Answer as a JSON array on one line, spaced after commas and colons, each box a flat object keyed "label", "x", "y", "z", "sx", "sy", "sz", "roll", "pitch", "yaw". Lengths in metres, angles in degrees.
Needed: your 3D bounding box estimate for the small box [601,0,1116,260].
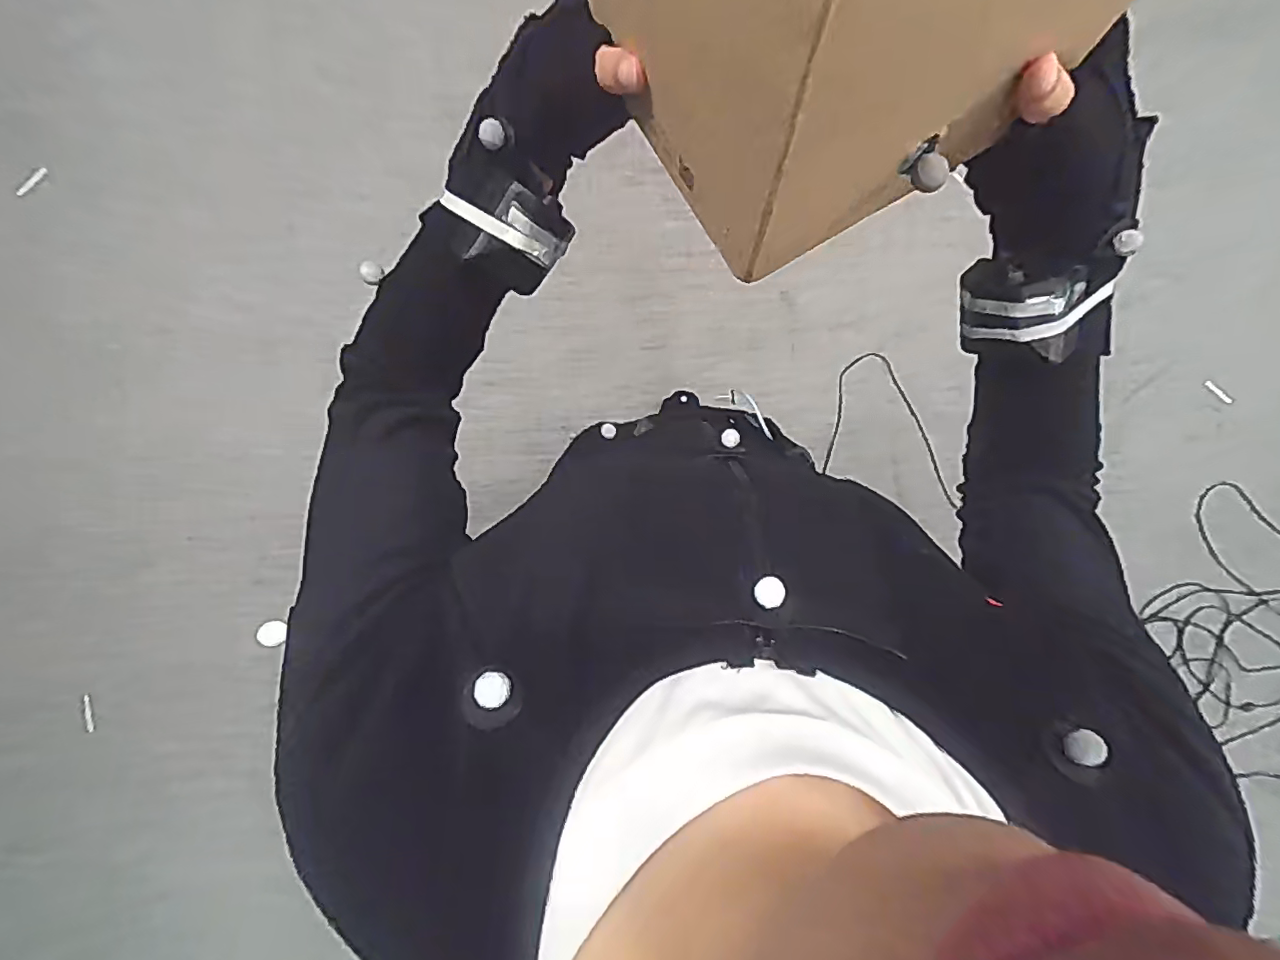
[{"label": "small box", "x": 0.085, "y": -0.227, "z": 0.211, "sx": 0.179, "sy": 0.176, "sz": 0.168, "roll": -30, "pitch": 84, "yaw": 0}]
